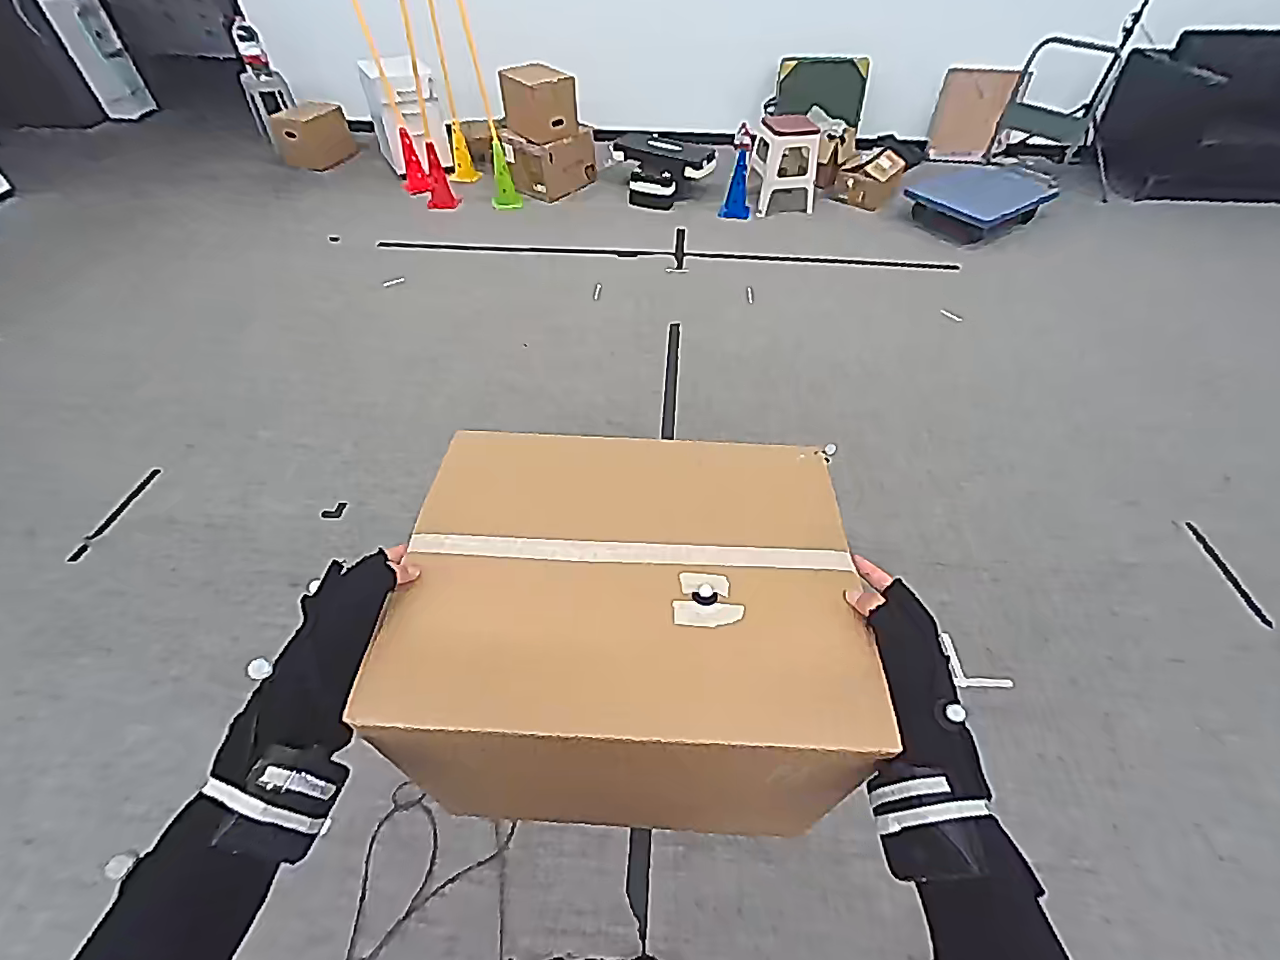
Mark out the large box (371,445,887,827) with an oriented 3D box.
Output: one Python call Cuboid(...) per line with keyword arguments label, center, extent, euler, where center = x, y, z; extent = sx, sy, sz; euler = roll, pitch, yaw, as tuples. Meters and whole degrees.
Cuboid(label="large box", center=(-0.009, 0.180, 0.617), extent=(0.408, 0.320, 0.320), euler=(3, 48, 1))
